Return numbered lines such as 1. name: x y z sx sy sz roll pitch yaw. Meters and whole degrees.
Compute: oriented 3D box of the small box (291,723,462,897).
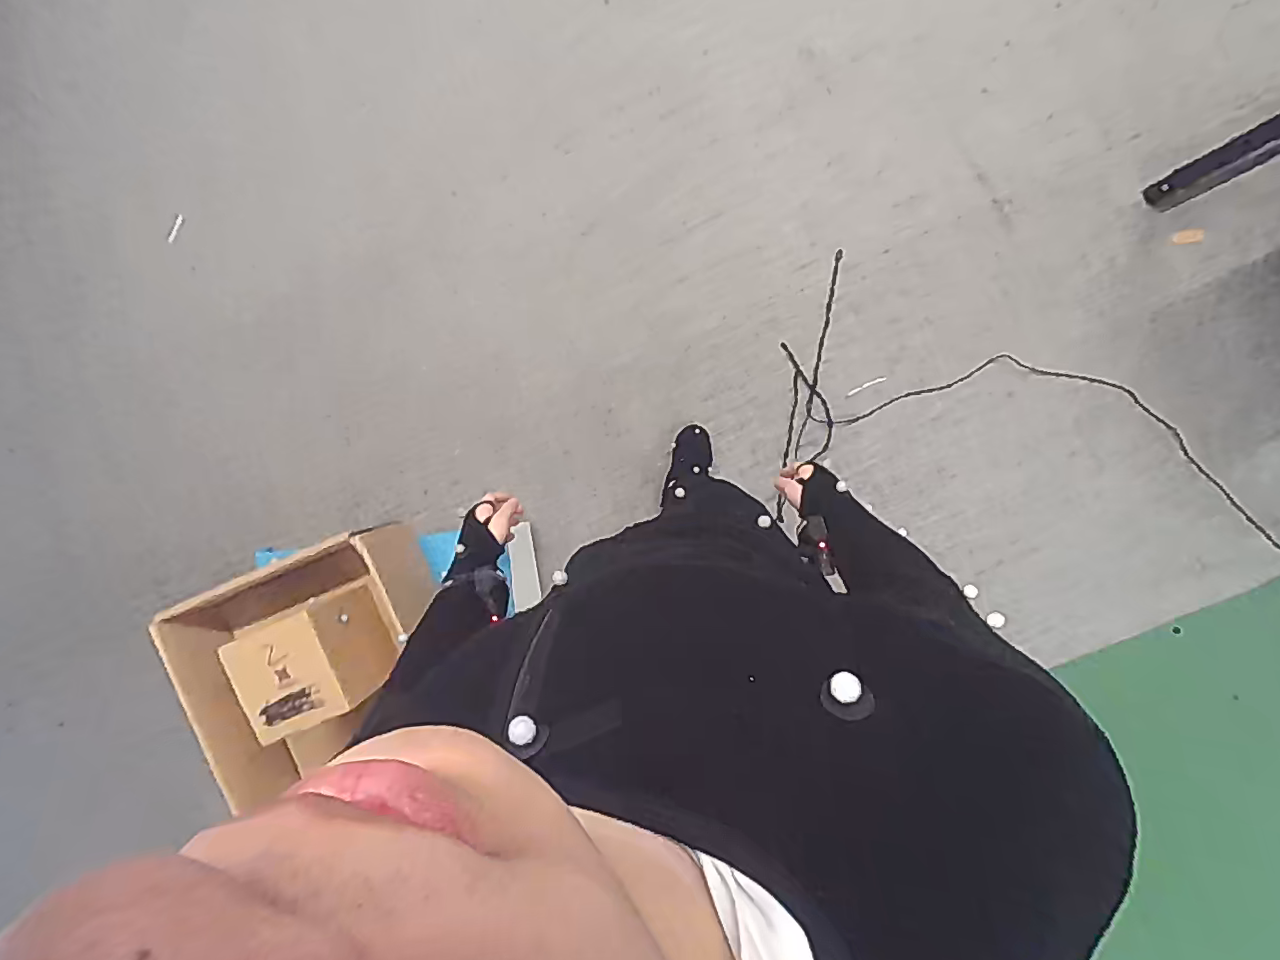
1. small box: -0.443 0.557 0.935 0.179 0.176 0.168 -23 91 5
